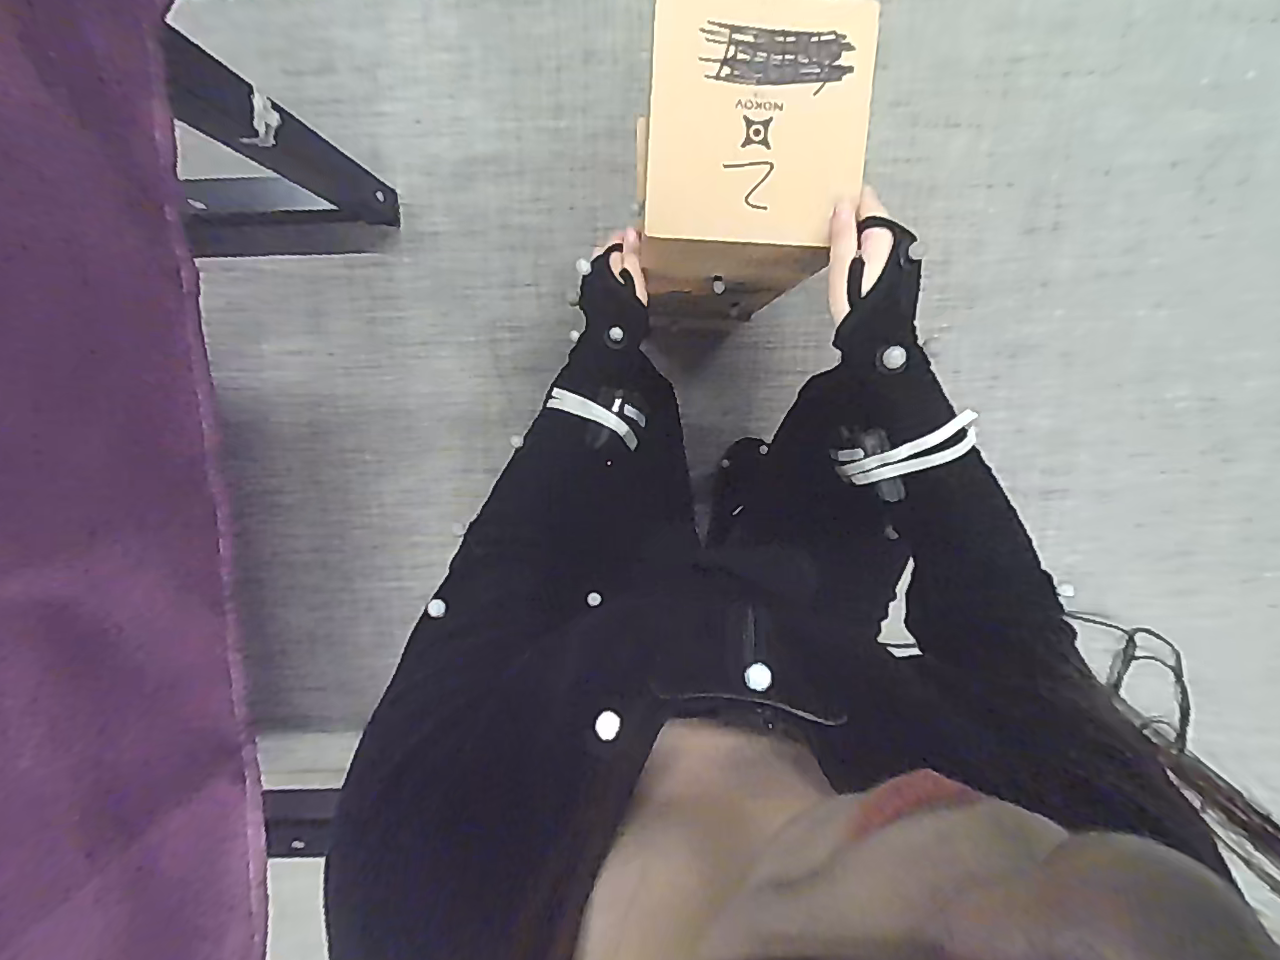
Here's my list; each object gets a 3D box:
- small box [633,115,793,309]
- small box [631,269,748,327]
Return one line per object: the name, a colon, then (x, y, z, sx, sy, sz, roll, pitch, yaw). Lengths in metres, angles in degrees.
small box: (0.076, -0.305, 0.651, 0.168, 0.176, 0.179, 0, 100, 0)
small box: (0.076, -0.328, 0.813, 0.168, 0.176, 0.179, 3, 101, 0)
